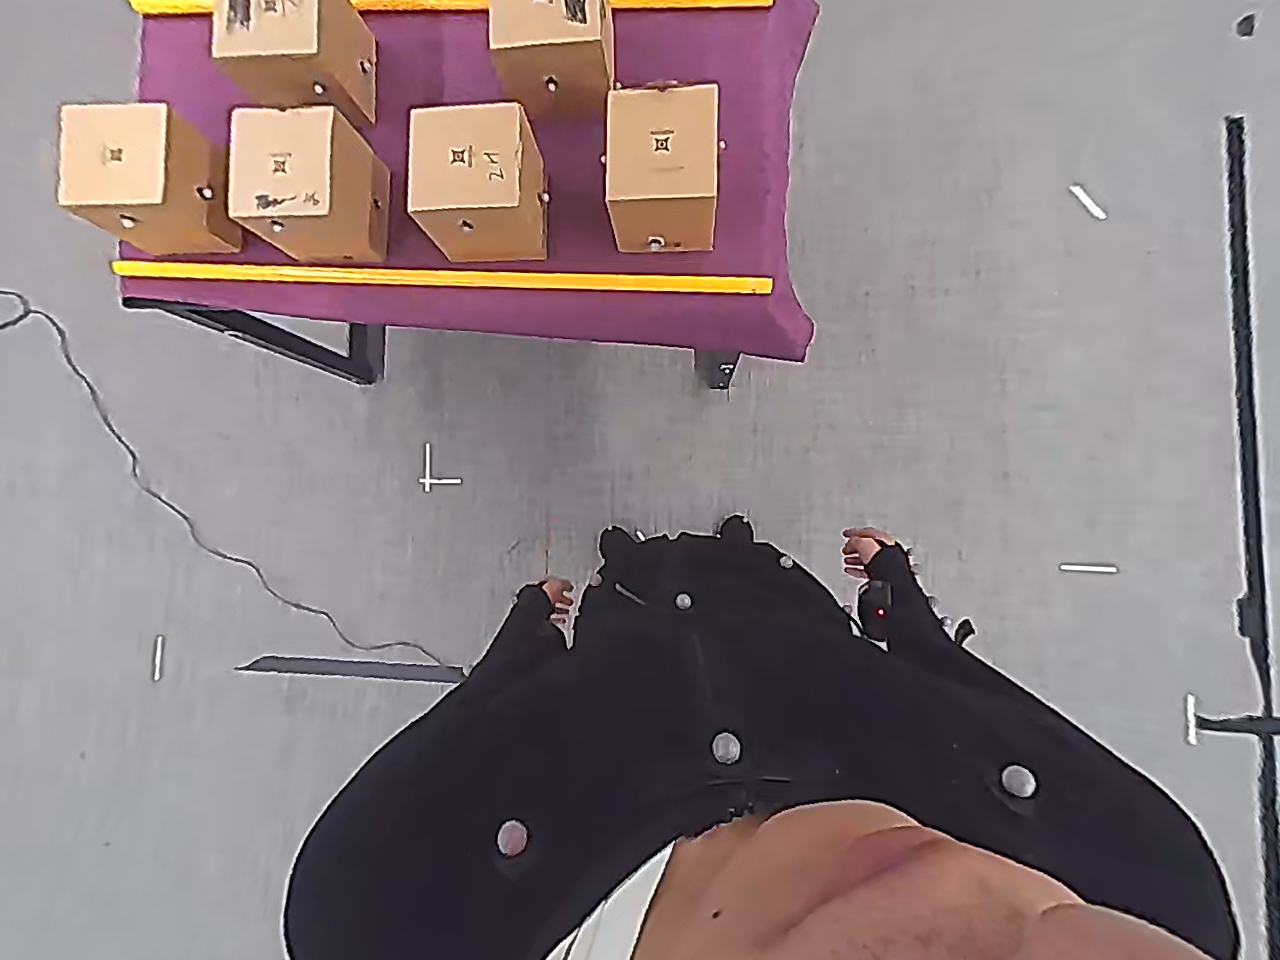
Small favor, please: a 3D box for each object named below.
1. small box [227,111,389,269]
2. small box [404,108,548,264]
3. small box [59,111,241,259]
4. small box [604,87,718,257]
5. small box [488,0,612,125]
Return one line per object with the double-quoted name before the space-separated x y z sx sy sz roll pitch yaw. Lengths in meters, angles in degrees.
"small box" -0.546 -0.479 0.912 0.168 0.176 0.179 1 87 6
"small box" -0.260 -0.471 0.890 0.179 0.176 0.168 0 86 5
"small box" -0.825 -0.497 0.932 0.179 0.176 0.168 1 87 4
"small box" 0.037 -0.483 0.869 0.168 0.176 0.179 0 85 6
"small box" -0.140 -0.726 0.896 0.179 0.176 0.168 -1 88 5
